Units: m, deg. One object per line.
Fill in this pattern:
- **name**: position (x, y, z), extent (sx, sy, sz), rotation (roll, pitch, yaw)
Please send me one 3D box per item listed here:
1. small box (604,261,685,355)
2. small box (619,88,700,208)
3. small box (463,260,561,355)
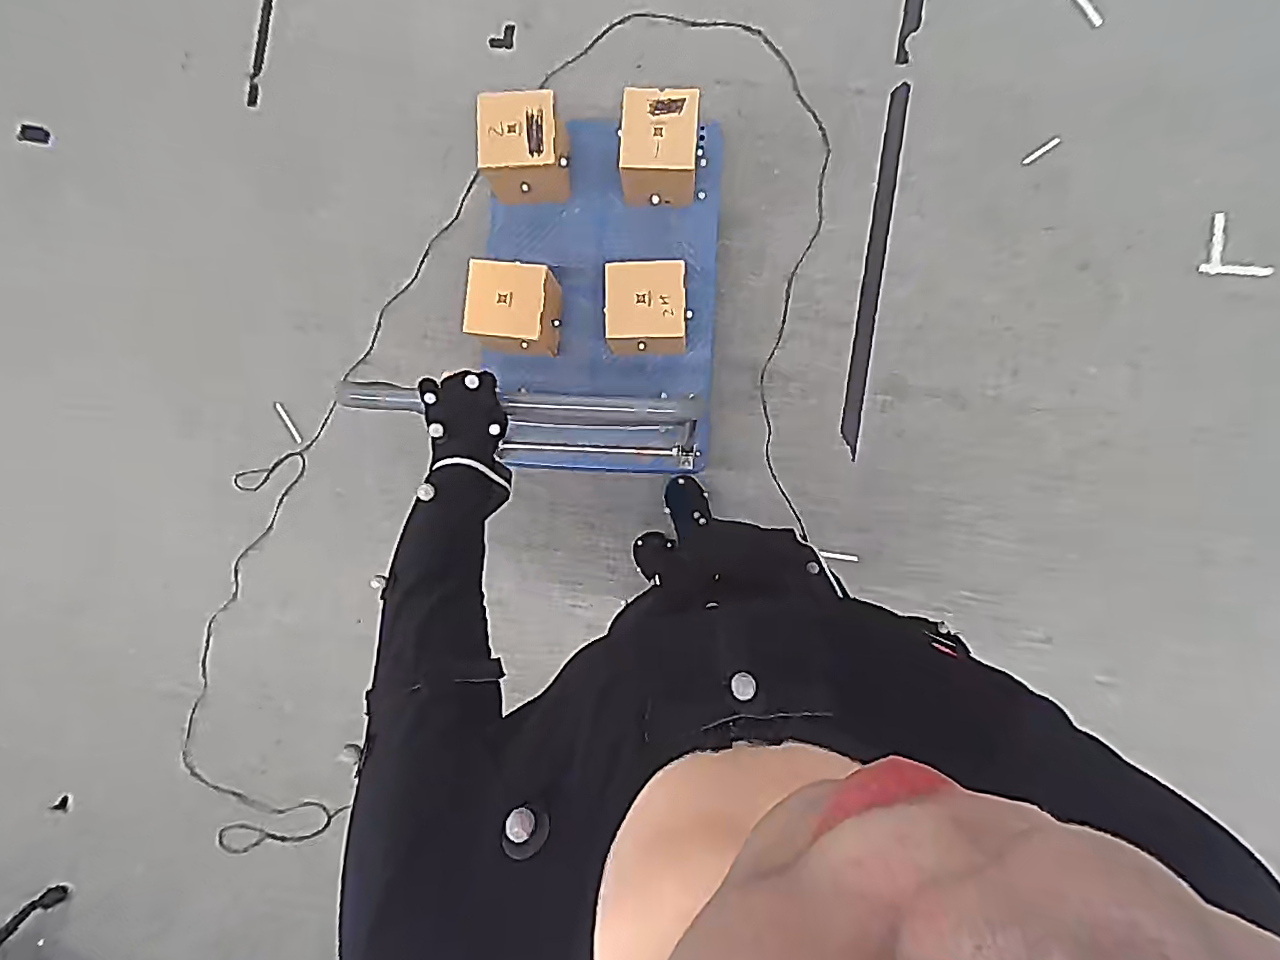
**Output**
- **small box**: position (0.015, -0.388, 1.248), extent (0.179, 0.176, 0.168), rotation (0, 90, 4)
- **small box**: position (0.045, -0.758, 1.246), extent (0.168, 0.176, 0.179), rotation (4, 91, 4)
- **small box**: position (-0.294, -0.397, 1.270), extent (0.179, 0.176, 0.168), rotation (6, 90, 2)
